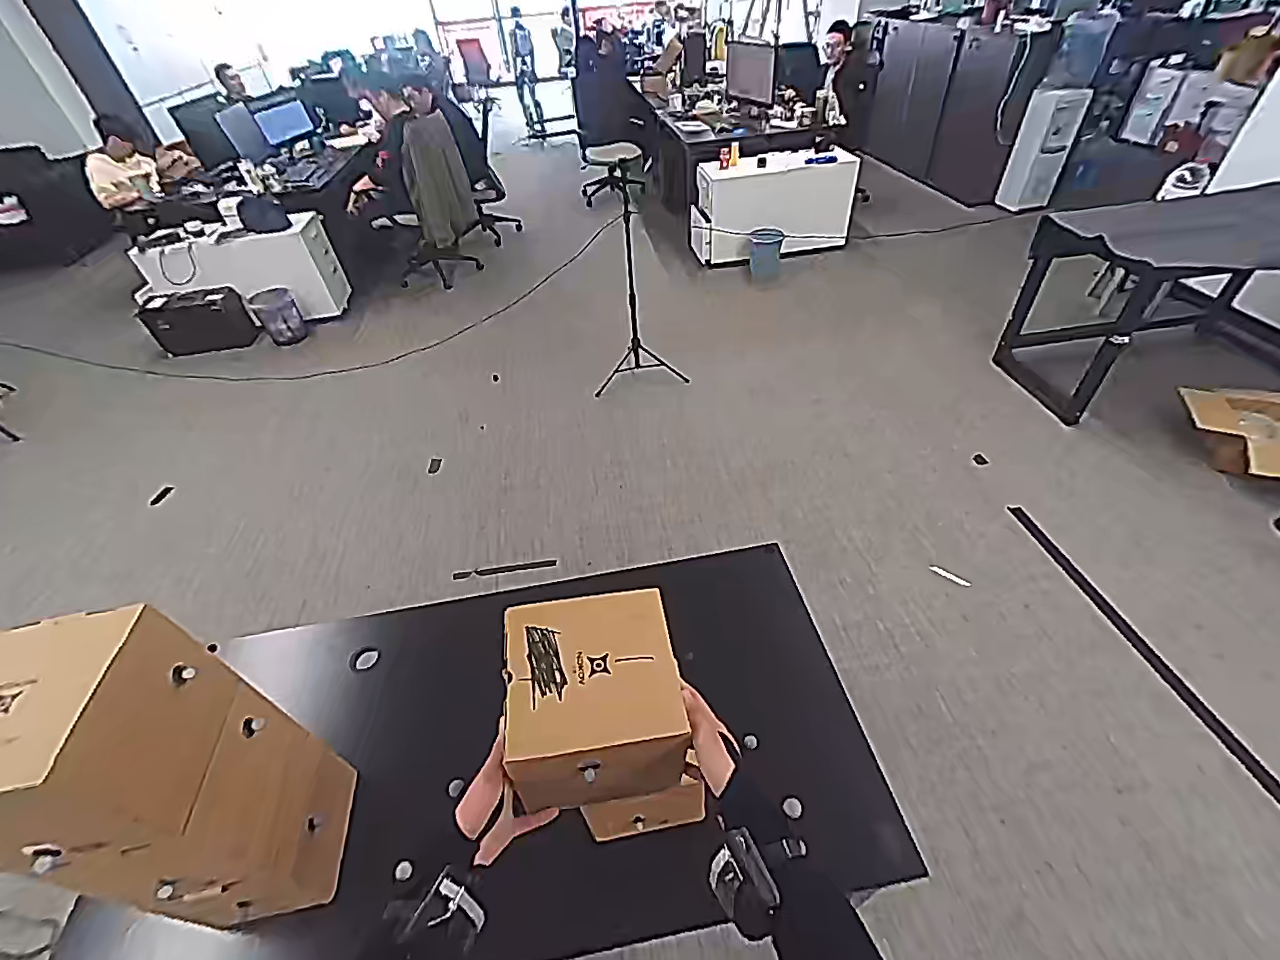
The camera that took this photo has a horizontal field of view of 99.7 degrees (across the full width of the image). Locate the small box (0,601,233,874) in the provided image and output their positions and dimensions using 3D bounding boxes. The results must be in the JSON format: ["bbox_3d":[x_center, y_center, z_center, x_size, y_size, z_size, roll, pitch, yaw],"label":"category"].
[{"bbox_3d":[-0.551,0.251,0.532,0.168,0.176,0.179,-11,44,-4],"label":"small box"}]

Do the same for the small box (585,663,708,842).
[{"bbox_3d":[-0.002,0.400,0.798,0.168,0.176,0.179,-10,44,-4],"label":"small box"}]

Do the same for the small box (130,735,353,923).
[{"bbox_3d":[-0.530,0.490,0.755,0.168,0.176,0.179,-10,44,-5],"label":"small box"}]

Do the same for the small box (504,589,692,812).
[{"bbox_3d":[-0.048,0.246,0.600,0.179,0.176,0.168,-6,45,-8],"label":"small box"}]

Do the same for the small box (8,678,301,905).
[{"bbox_3d":[-0.541,0.369,0.644,0.168,0.176,0.179,-10,43,-4],"label":"small box"}]
